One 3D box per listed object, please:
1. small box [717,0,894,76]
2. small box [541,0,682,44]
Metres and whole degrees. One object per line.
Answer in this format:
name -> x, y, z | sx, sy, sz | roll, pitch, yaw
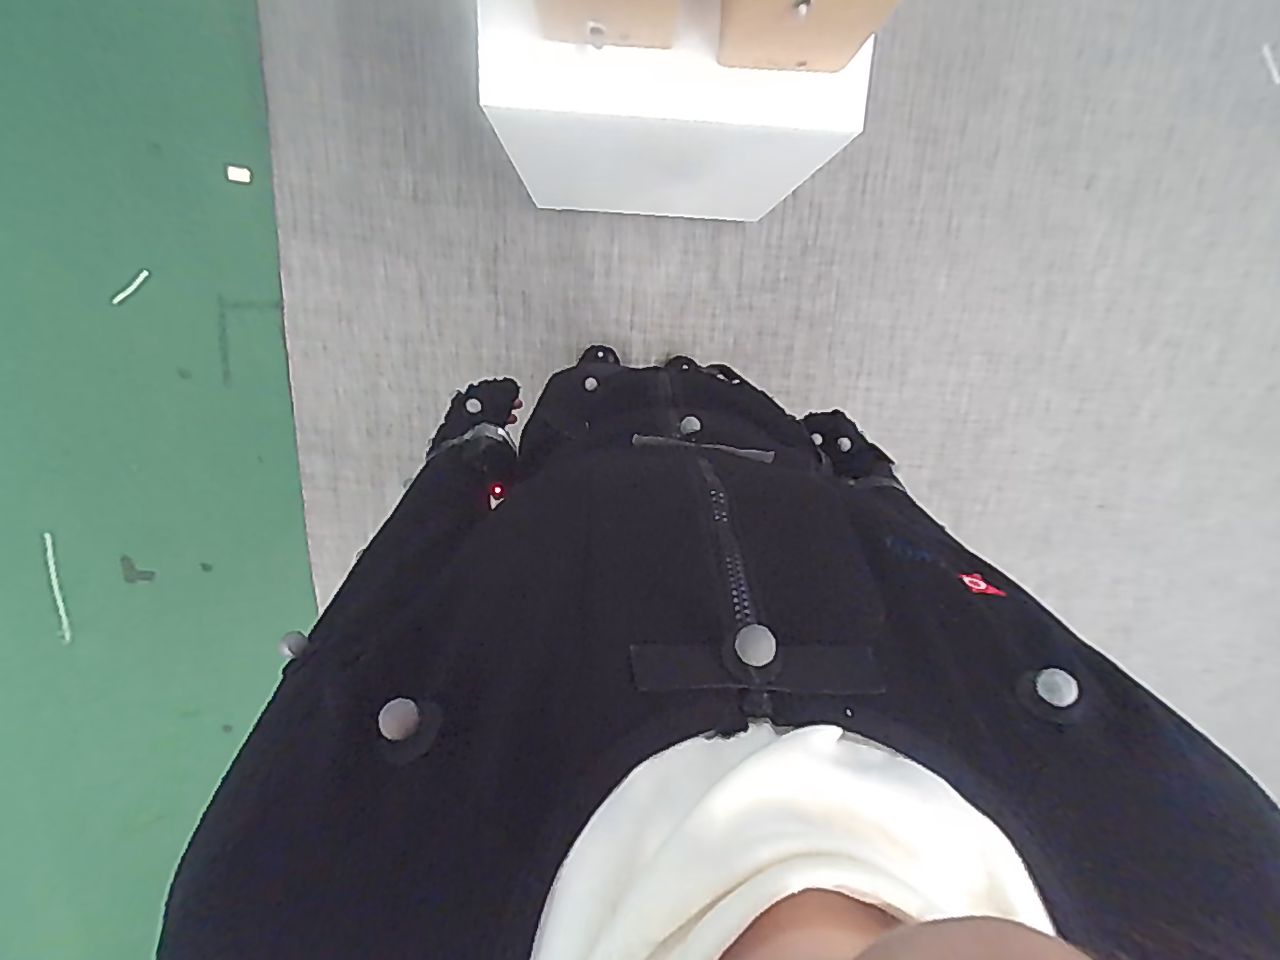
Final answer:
small box -> 0.185, -0.600, 0.606 | 0.168, 0.176, 0.179 | 2, 103, -3
small box -> -0.032, -0.616, 0.579 | 0.168, 0.176, 0.179 | 0, 105, -2
